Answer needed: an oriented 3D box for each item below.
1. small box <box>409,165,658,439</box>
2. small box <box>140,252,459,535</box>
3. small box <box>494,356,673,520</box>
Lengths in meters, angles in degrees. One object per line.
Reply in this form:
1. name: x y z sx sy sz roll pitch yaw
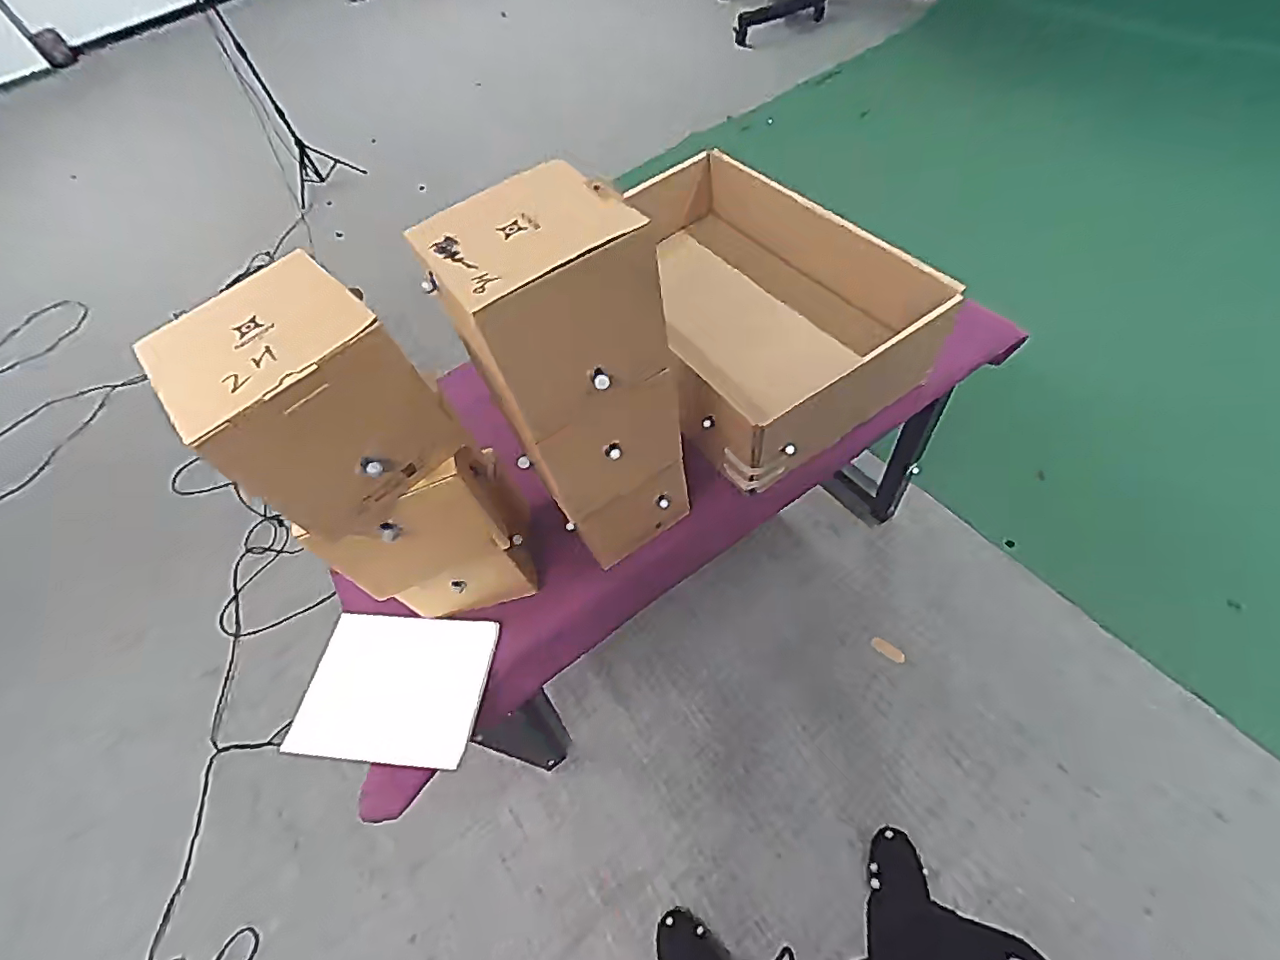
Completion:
1. small box: -0.094 -0.176 0.547 0.179 0.176 0.168 -32 55 -13
2. small box: -0.311 -0.079 0.521 0.168 0.176 0.179 -41 60 -16
3. small box: -0.070 -0.084 0.682 0.179 0.176 0.168 -32 56 -12
